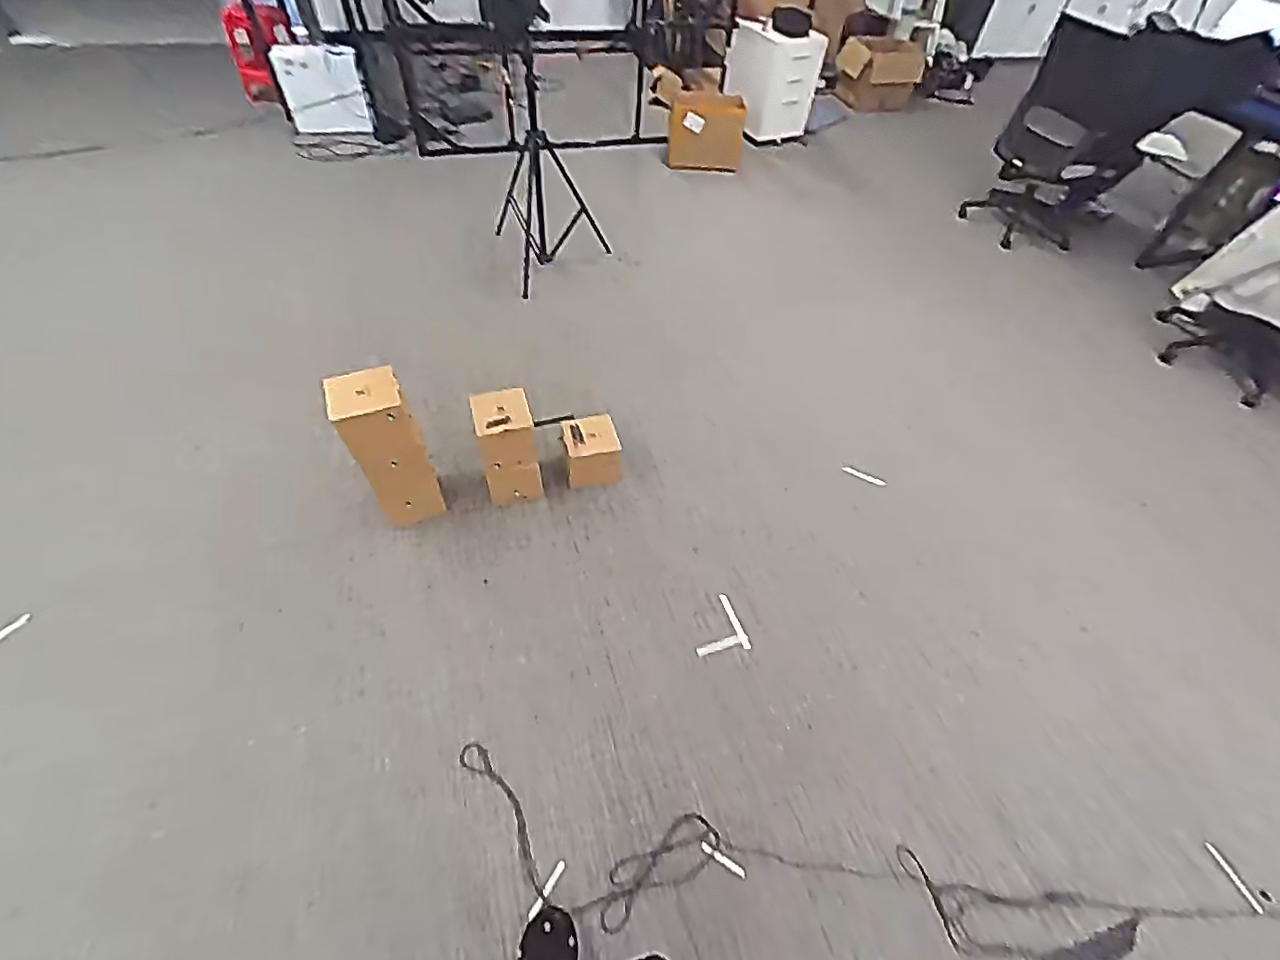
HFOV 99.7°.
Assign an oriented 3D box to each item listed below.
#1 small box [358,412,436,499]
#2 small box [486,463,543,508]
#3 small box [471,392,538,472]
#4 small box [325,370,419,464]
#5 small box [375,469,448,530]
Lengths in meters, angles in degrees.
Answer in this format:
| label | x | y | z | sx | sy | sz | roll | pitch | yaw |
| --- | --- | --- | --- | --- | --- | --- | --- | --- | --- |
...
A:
| label | x | y | z | sx | sy | sz | roll | pitch | yaw |
| --- | --- | --- | --- | --- | --- | --- | --- | --- | --- |
| small box | -0.721 | -0.069 | 1.593 | 0.179 | 0.176 | 0.168 | -17 | 56 | -19 |
| small box | -0.421 | -0.031 | 1.795 | 0.168 | 0.176 | 0.179 | -10 | 53 | -12 |
| small box | -0.416 | -0.141 | 1.672 | 0.168 | 0.176 | 0.179 | -12 | 53 | -14 |
| small box | -0.720 | -0.167 | 1.462 | 0.179 | 0.176 | 0.168 | -18 | 56 | -18 |
| small box | -0.734 | 0.034 | 1.719 | 0.179 | 0.176 | 0.168 | -20 | 56 | -18 |
